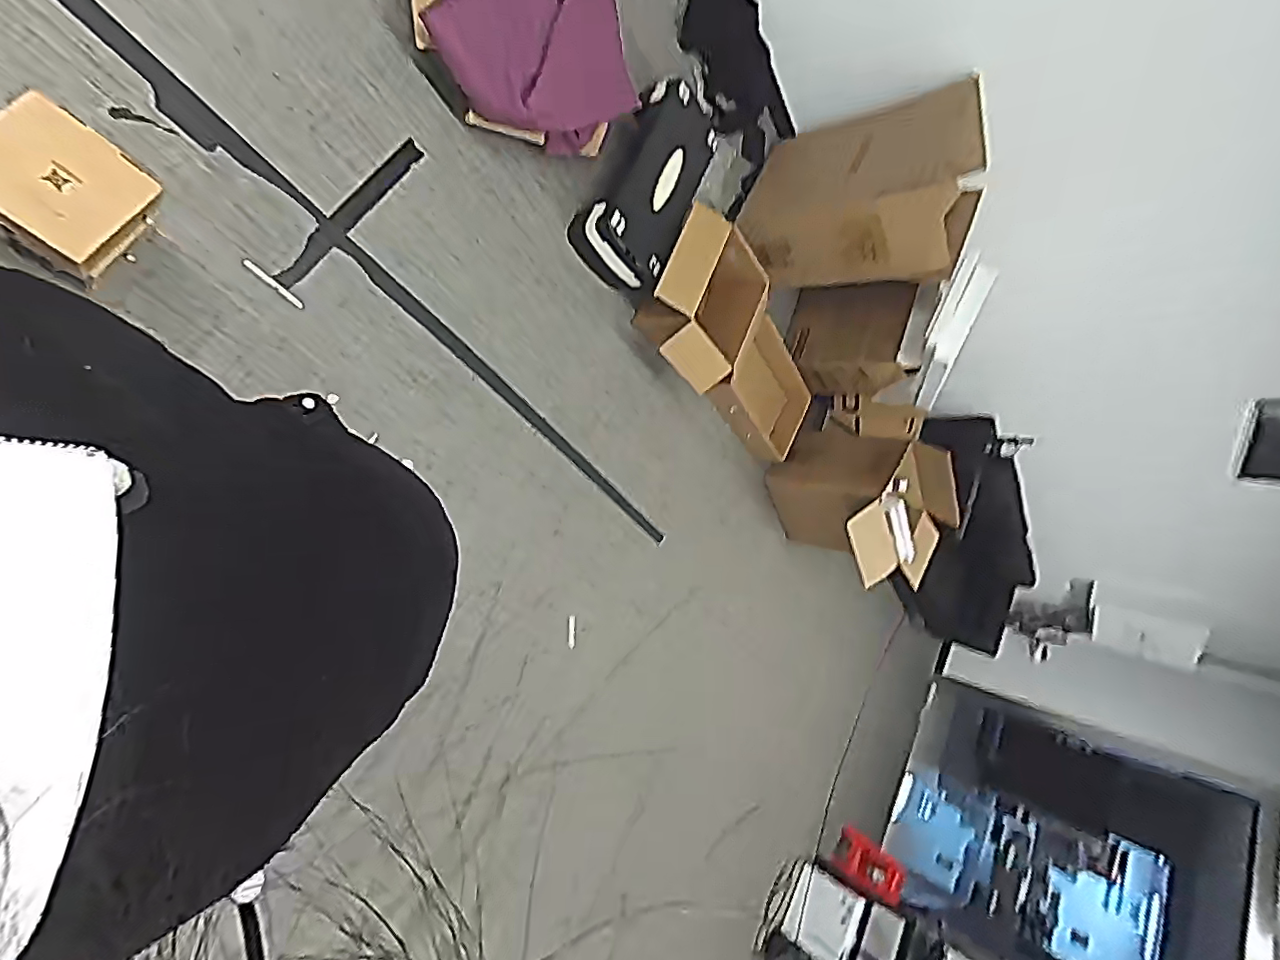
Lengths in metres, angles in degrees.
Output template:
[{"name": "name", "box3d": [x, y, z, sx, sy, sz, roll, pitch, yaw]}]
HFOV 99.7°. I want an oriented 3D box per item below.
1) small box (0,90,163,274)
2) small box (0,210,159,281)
[{"name": "small box", "box3d": [-0.902, -0.450, 0.843, 0.168, 0.176, 0.179, 44, 68, -40]}, {"name": "small box", "box3d": [-1.014, -0.474, 0.958, 0.179, 0.176, 0.168, 44, 66, -41]}]
